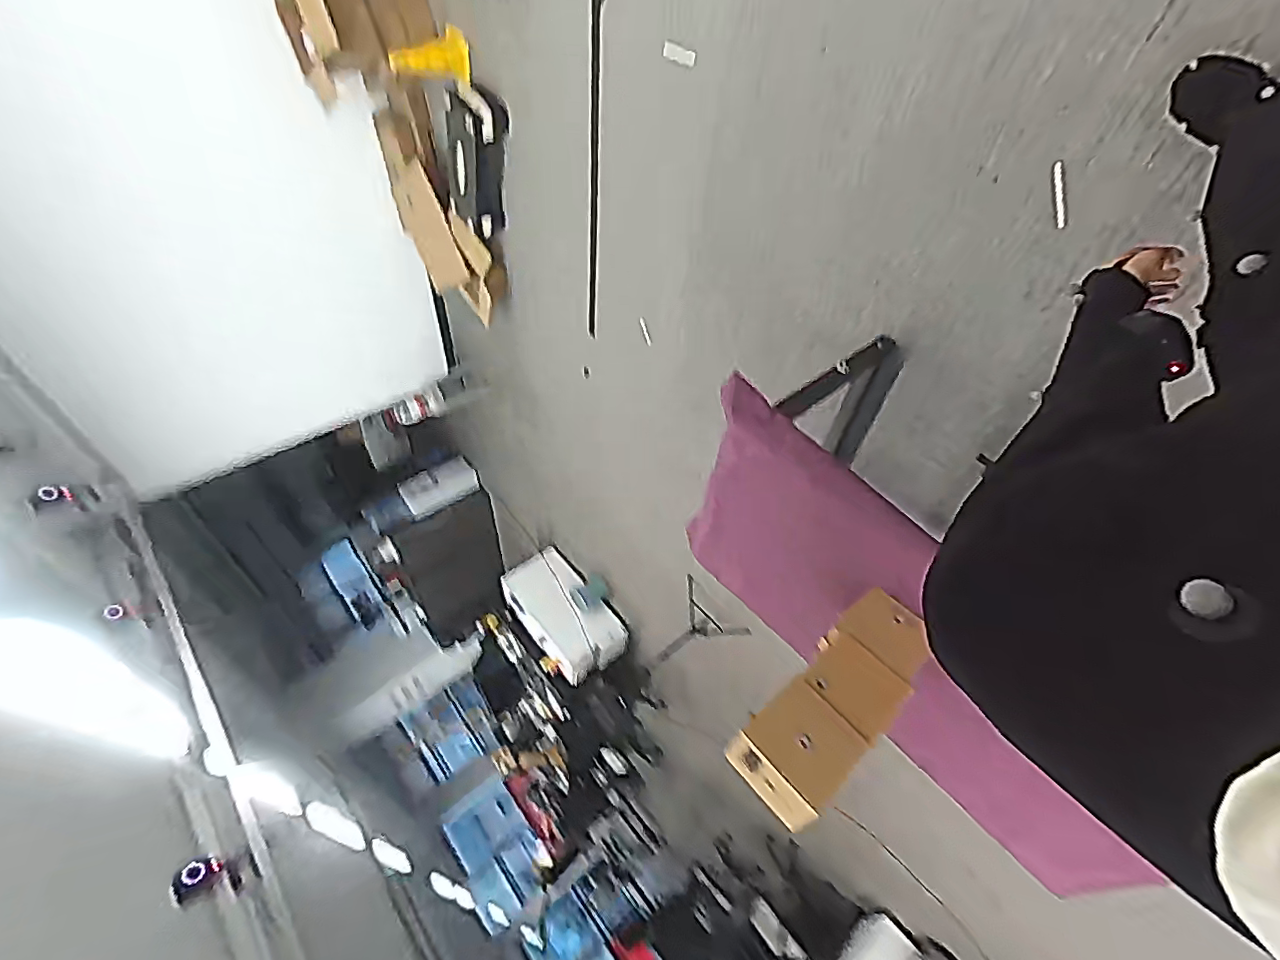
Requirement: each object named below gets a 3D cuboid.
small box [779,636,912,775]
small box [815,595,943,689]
[{"bbox_3d":[0.425,0.464,1.126,0.179,0.176,0.168,41,147,29],"label":"small box"},{"bbox_3d":[0.534,0.385,1.219,0.179,0.176,0.168,41,148,30],"label":"small box"}]
